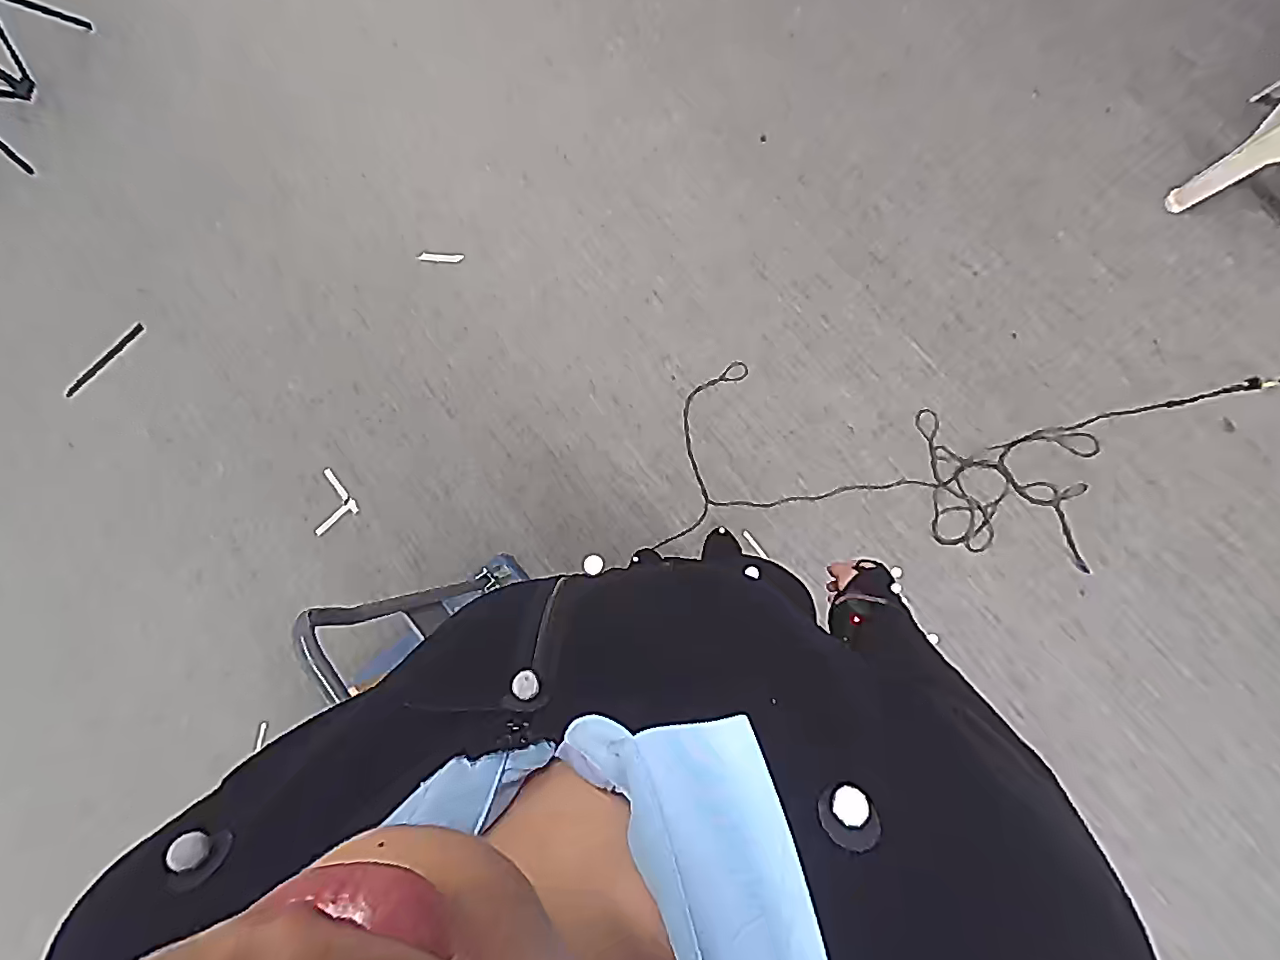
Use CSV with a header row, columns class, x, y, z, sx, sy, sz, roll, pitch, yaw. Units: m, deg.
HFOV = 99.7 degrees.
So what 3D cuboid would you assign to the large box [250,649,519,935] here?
class,x,y,z,sx,sy,sz,roll,pitch,yaw
large box,-0.553,0.665,1.232,0.320,0.320,0.408,-40,81,4
